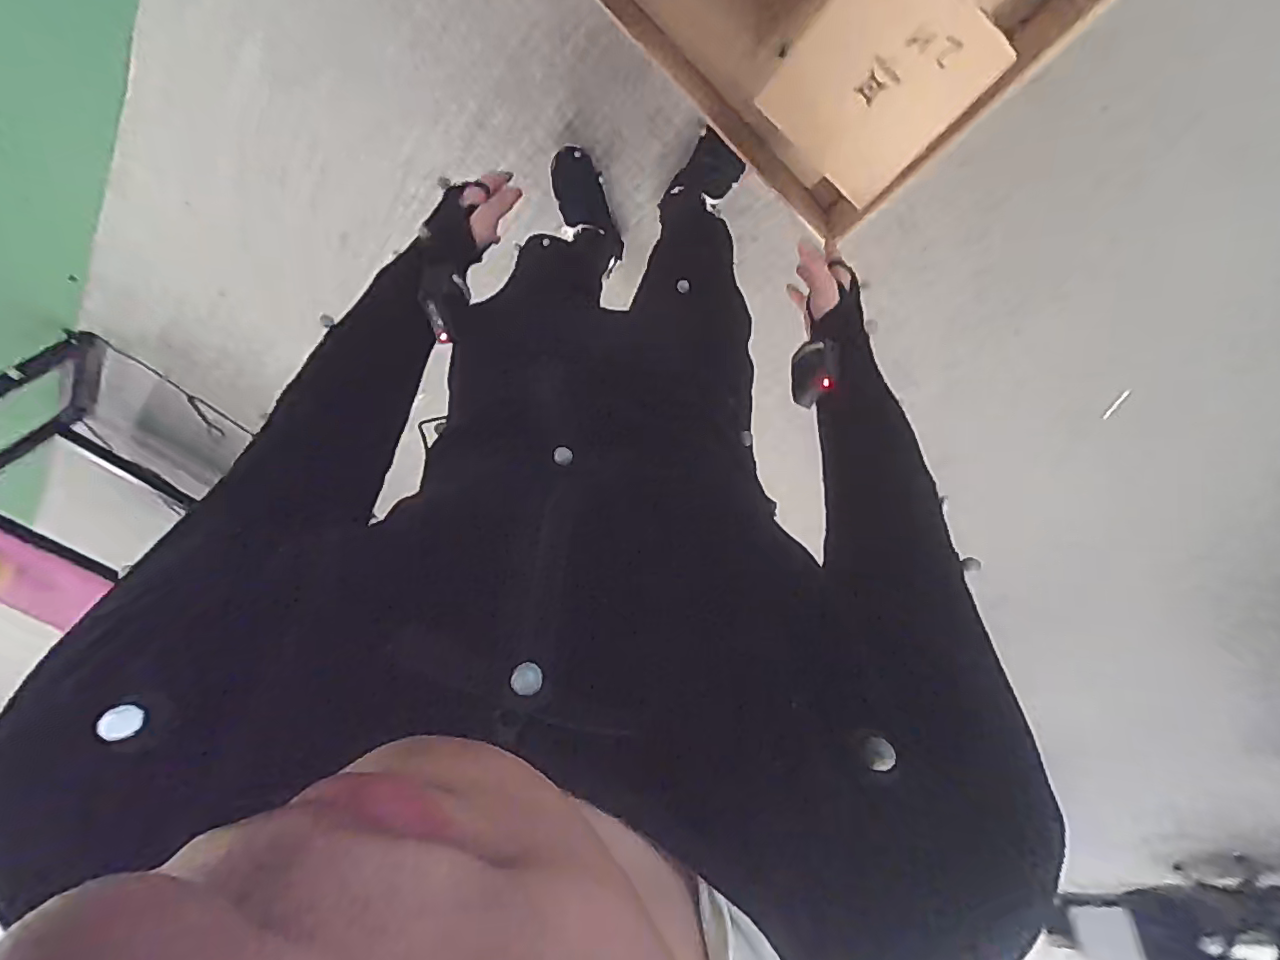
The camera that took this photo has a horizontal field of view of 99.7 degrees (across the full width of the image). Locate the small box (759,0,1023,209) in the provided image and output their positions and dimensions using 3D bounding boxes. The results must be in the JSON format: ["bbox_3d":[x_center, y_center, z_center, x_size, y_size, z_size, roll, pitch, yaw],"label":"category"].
[{"bbox_3d":[0.246,-0.435,0.568,0.168,0.176,0.179,34,132,-20],"label":"small box"}]
